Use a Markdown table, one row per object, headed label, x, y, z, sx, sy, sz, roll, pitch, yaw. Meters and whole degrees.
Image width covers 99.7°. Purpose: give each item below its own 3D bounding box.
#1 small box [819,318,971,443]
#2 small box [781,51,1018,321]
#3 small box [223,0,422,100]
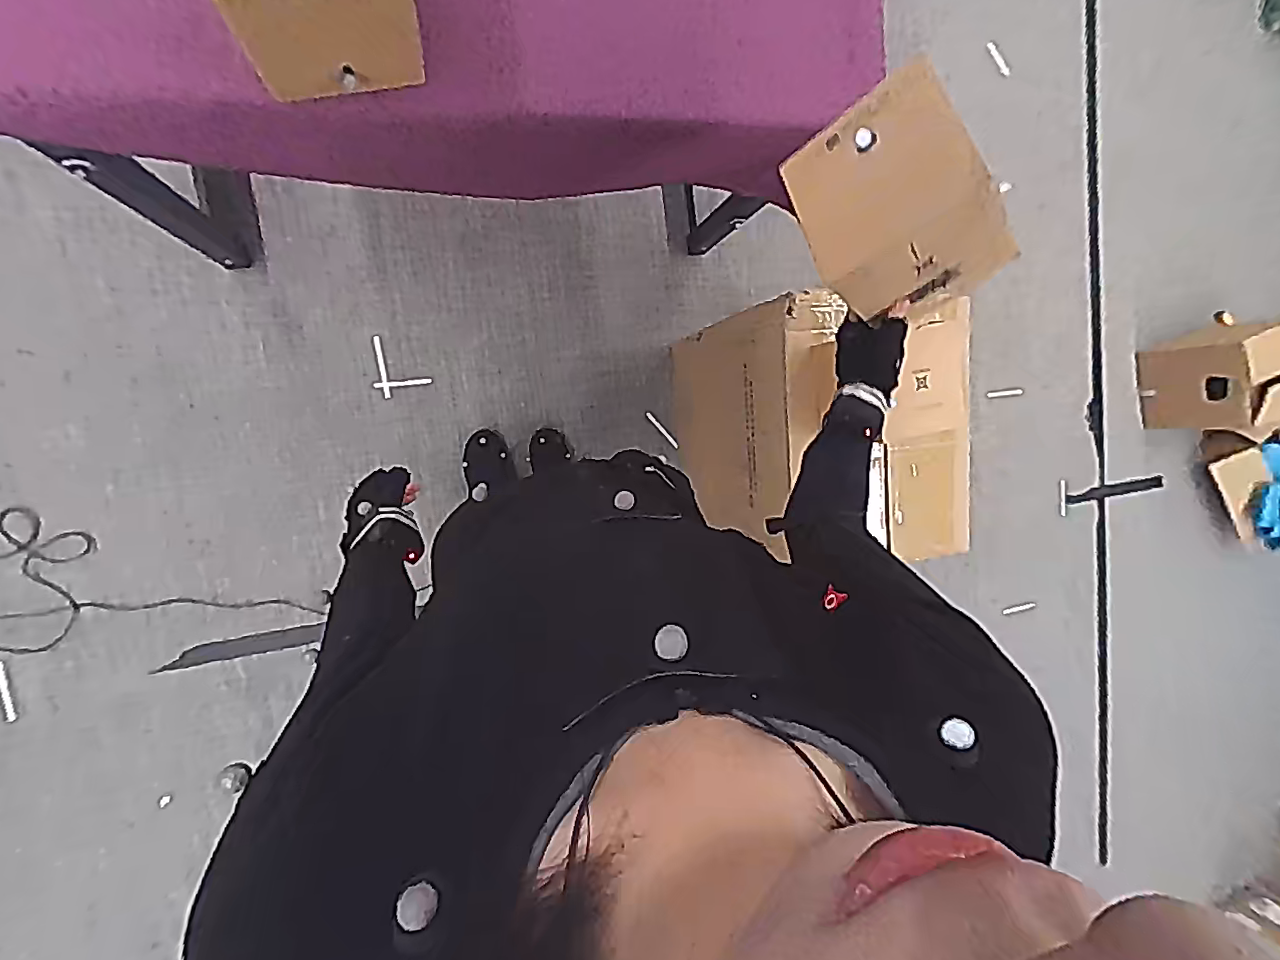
| label | x | y | z | sx | sy | sz | roll | pitch | yaw |
| --- | --- | --- | --- | --- | --- | --- | --- | --- | --- |
| small box | 0.426 | -0.164 | 0.925 | 0.168 | 0.176 | 0.179 | -12 | 99 | -12 |
| small box | 0.286 | -0.315 | 0.605 | 0.179 | 0.168 | 0.176 | 9 | 60 | -48 |
| small box | -0.340 | -0.538 | 0.565 | 0.179 | 0.176 | 0.168 | -19 | 99 | -14 |
